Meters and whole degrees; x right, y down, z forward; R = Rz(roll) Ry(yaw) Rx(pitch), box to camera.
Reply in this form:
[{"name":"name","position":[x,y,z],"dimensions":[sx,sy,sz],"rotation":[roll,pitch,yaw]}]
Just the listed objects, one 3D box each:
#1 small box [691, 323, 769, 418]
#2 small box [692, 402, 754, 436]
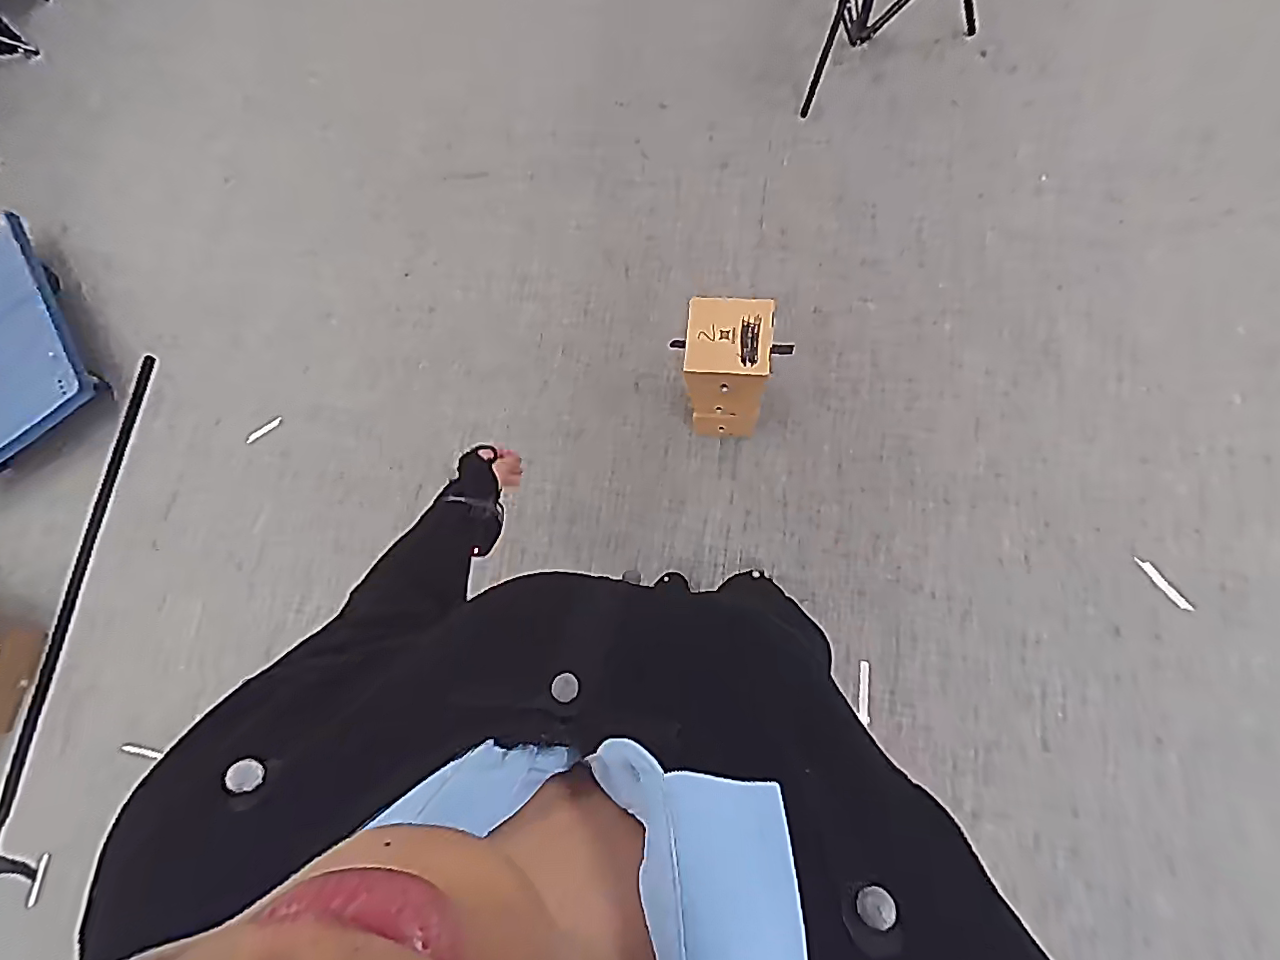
[{"name":"small box","position":[0.219,-0.267,1.341],"dimensions":[0.168,0.176,0.179],"rotation":[7,80,9]},{"name":"small box","position":[0.236,-0.227,1.498],"dimensions":[0.168,0.176,0.179],"rotation":[5,79,8]}]
